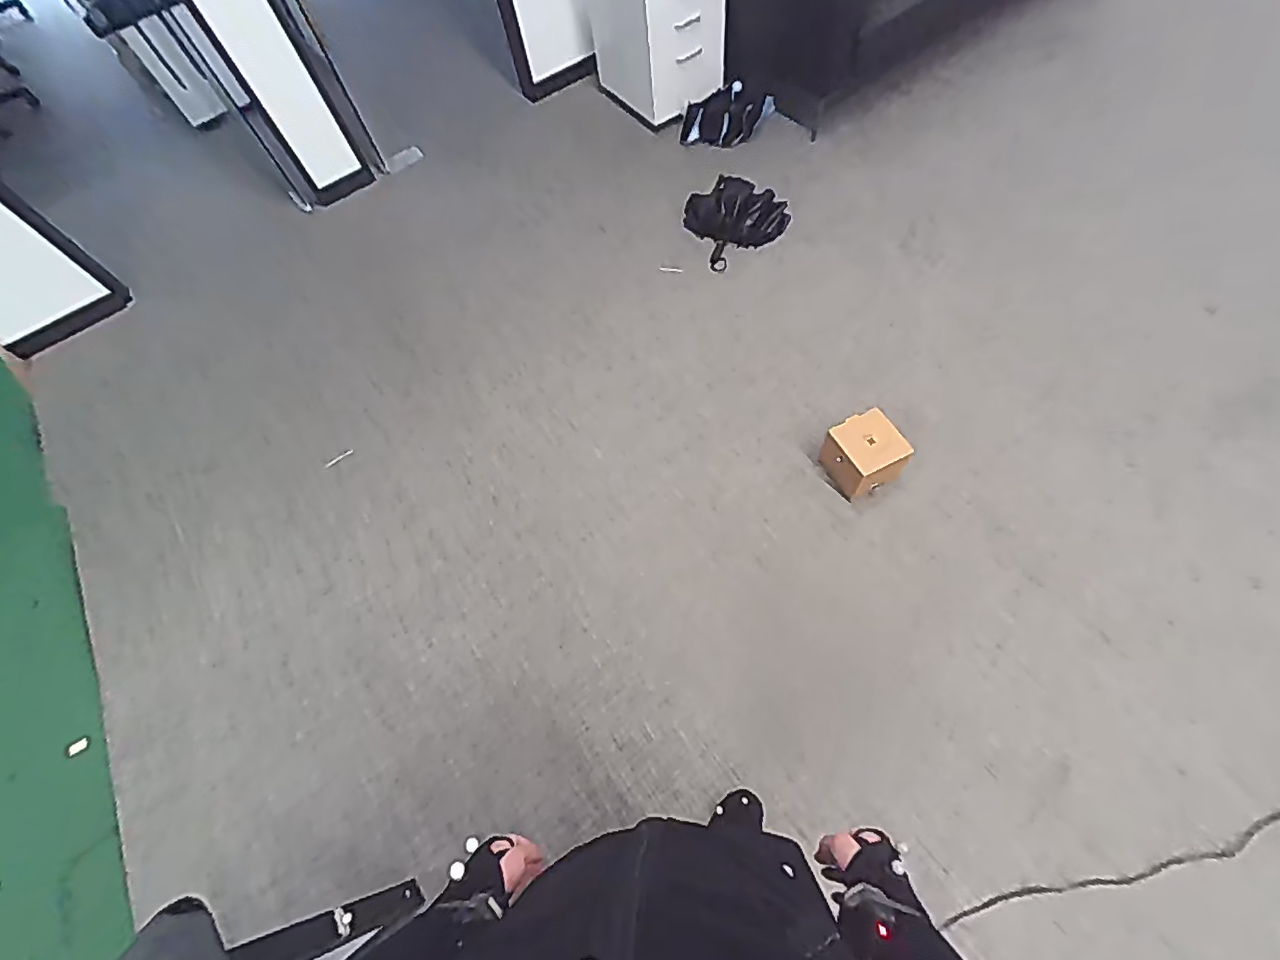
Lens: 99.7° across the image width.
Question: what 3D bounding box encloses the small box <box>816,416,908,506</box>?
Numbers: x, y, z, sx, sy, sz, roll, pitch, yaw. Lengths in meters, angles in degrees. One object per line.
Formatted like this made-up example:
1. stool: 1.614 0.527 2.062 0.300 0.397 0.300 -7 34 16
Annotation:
1. small box: 0.646 -0.051 1.602 0.168 0.176 0.179 -25 63 -6
